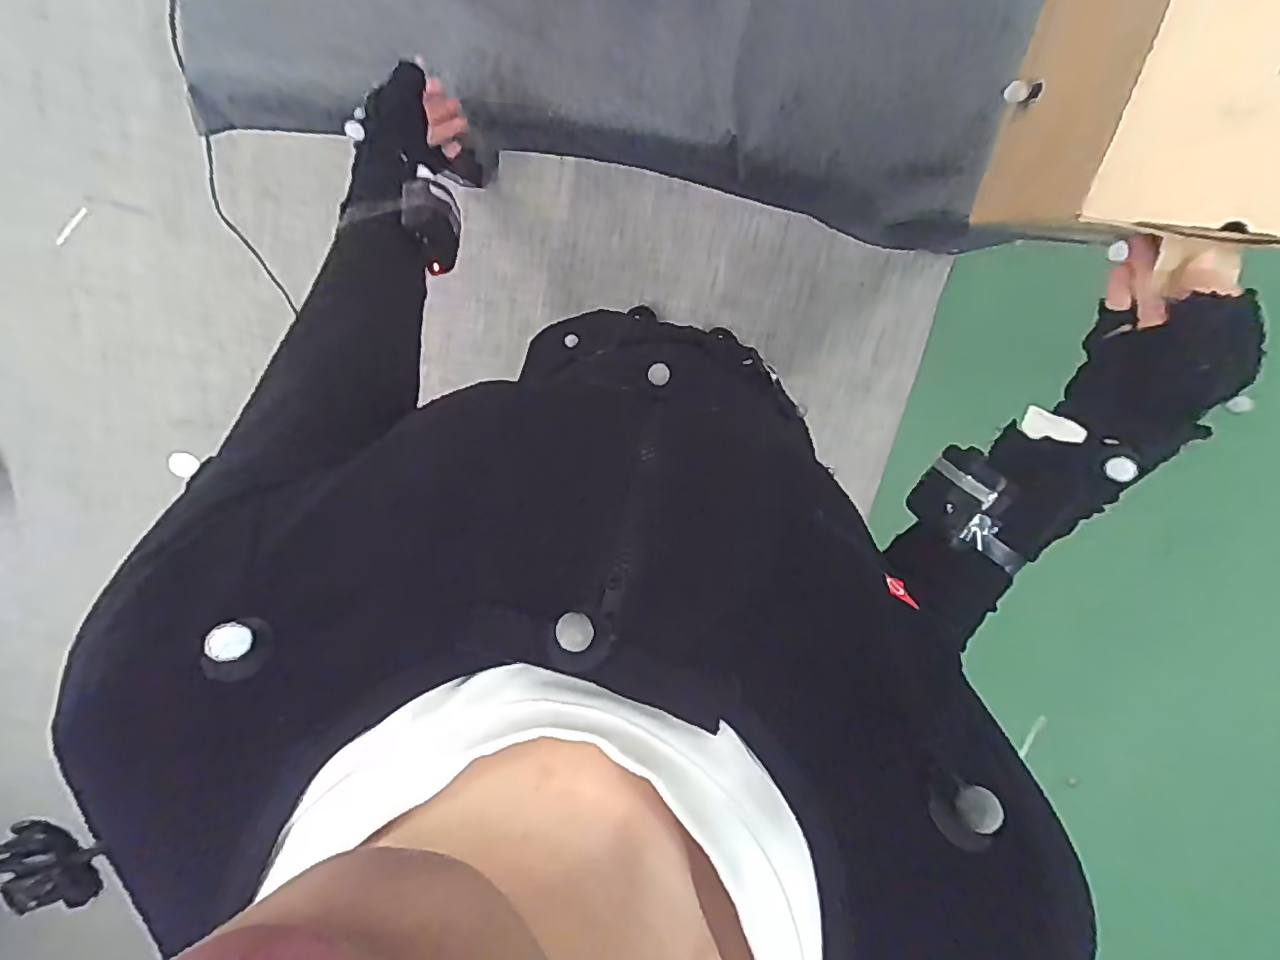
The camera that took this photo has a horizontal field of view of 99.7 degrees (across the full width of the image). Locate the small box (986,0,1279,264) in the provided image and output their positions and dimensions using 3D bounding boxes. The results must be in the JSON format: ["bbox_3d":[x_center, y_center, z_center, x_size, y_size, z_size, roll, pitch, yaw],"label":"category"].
[{"bbox_3d":[0.358,-0.243,0.344,0.168,0.176,0.179,10,116,5],"label":"small box"}]
